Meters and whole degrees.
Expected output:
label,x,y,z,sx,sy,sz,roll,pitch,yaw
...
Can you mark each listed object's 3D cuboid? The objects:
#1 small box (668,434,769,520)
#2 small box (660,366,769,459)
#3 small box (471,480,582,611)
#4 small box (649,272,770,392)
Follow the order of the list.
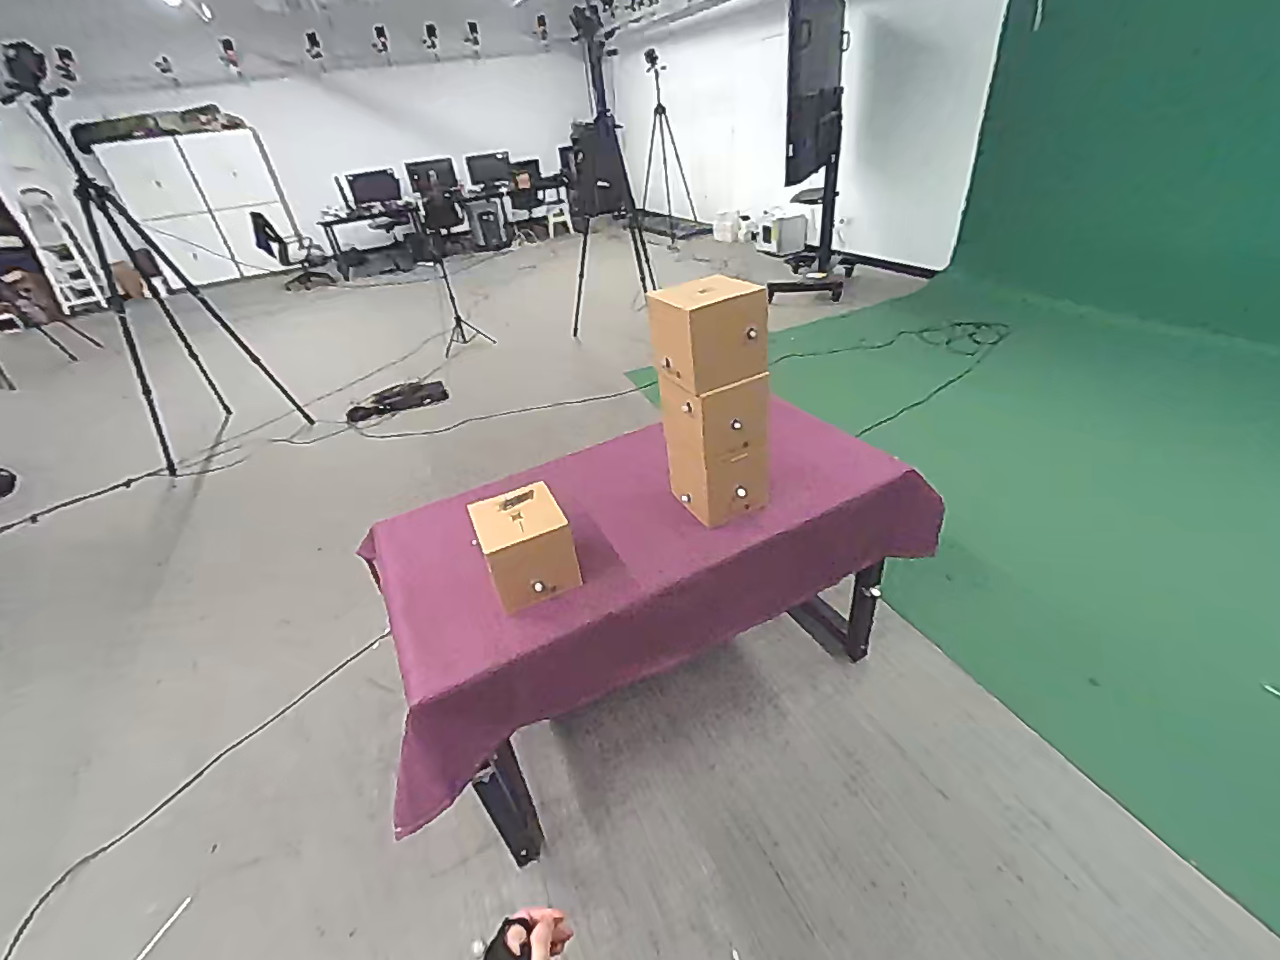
label,x,y,z,sx,sy,sz,roll,pitch,yaw
small box,0.182,-0.027,1.255,0.168,0.176,0.179,-21,37,-18
small box,0.160,-0.161,1.160,0.168,0.176,0.179,-21,36,-19
small box,-0.231,0.132,1.106,0.168,0.176,0.179,-20,37,-17
small box,0.136,-0.295,1.070,0.179,0.176,0.168,-22,36,-18
